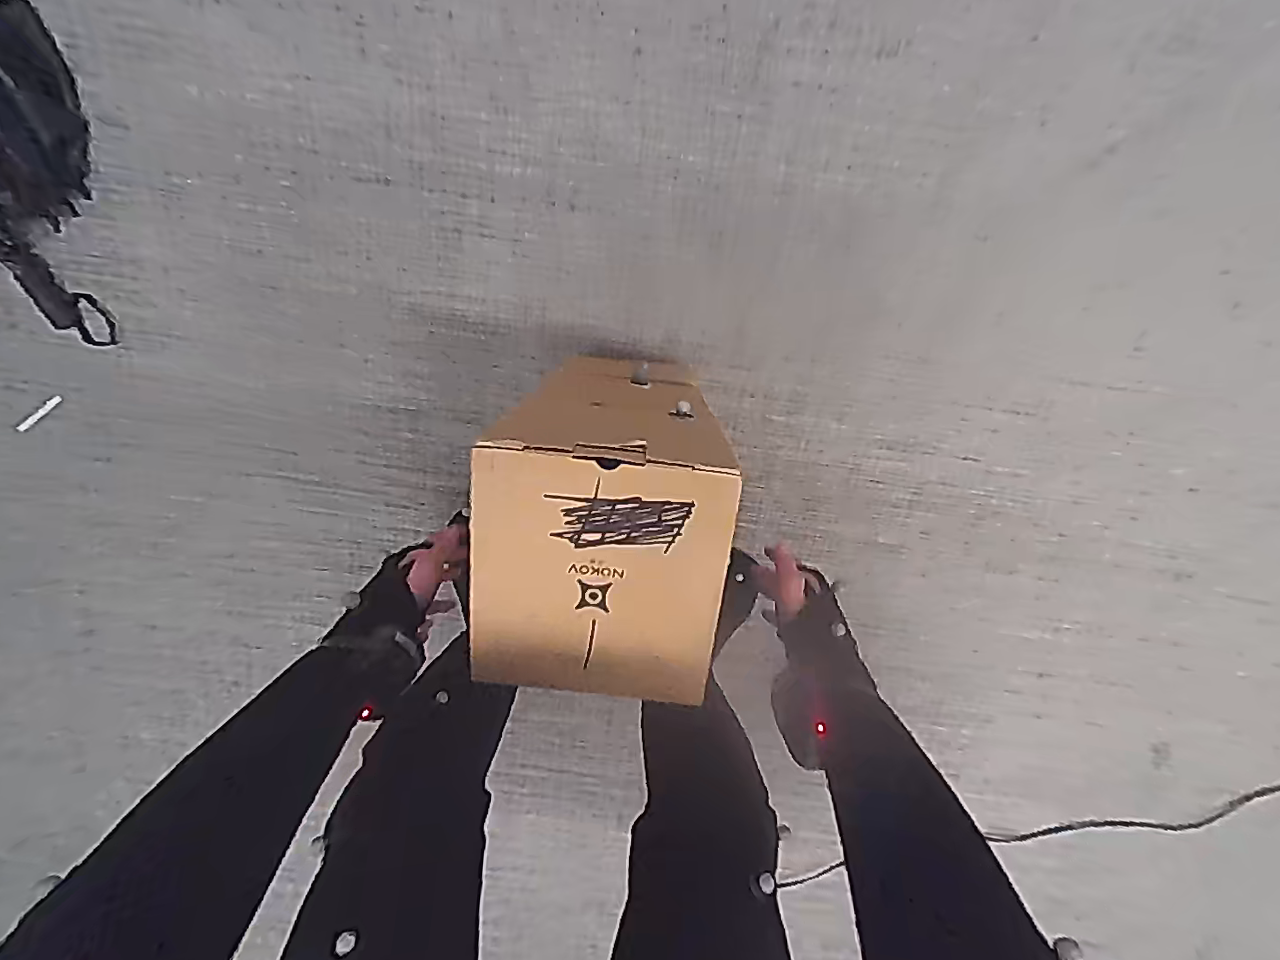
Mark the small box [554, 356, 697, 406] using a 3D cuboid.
[{"bbox_3d":[-0.019,-0.057,0.708,0.168,0.176,0.179,5,110,1],"label":"small box"}]

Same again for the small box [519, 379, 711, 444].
[{"bbox_3d":[-0.025,0.002,0.556,0.168,0.176,0.179,5,109,0],"label":"small box"}]

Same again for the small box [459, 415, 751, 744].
[{"bbox_3d":[-0.025,0.058,0.401,0.168,0.176,0.179,6,111,0],"label":"small box"}]
